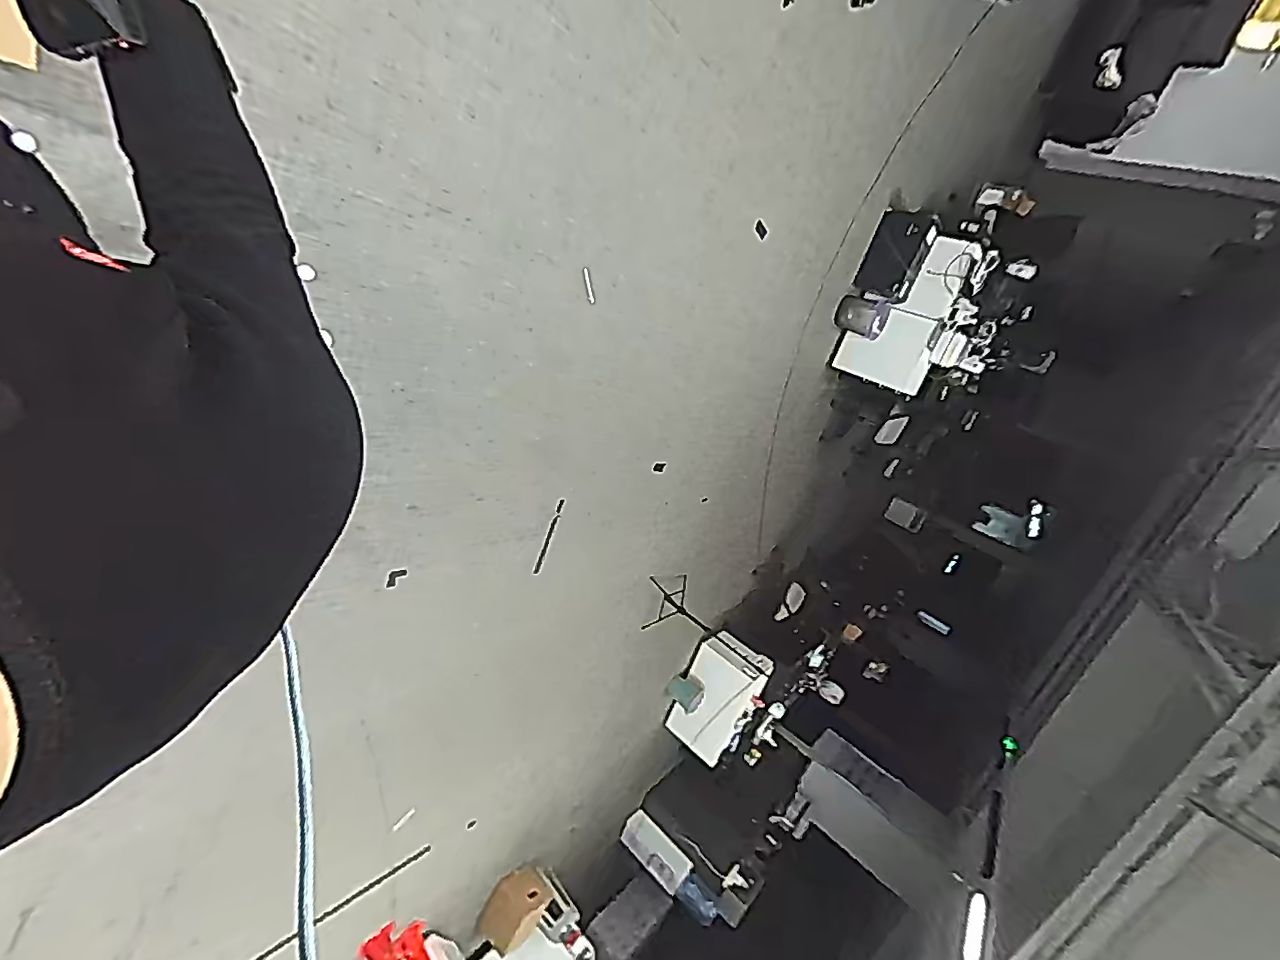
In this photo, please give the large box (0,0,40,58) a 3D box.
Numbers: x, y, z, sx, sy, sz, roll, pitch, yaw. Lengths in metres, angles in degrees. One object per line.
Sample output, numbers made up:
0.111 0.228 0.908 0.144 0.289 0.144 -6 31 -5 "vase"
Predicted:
-0.971 -0.728 0.576 0.408 0.320 0.320 -8 122 -53 "large box"
